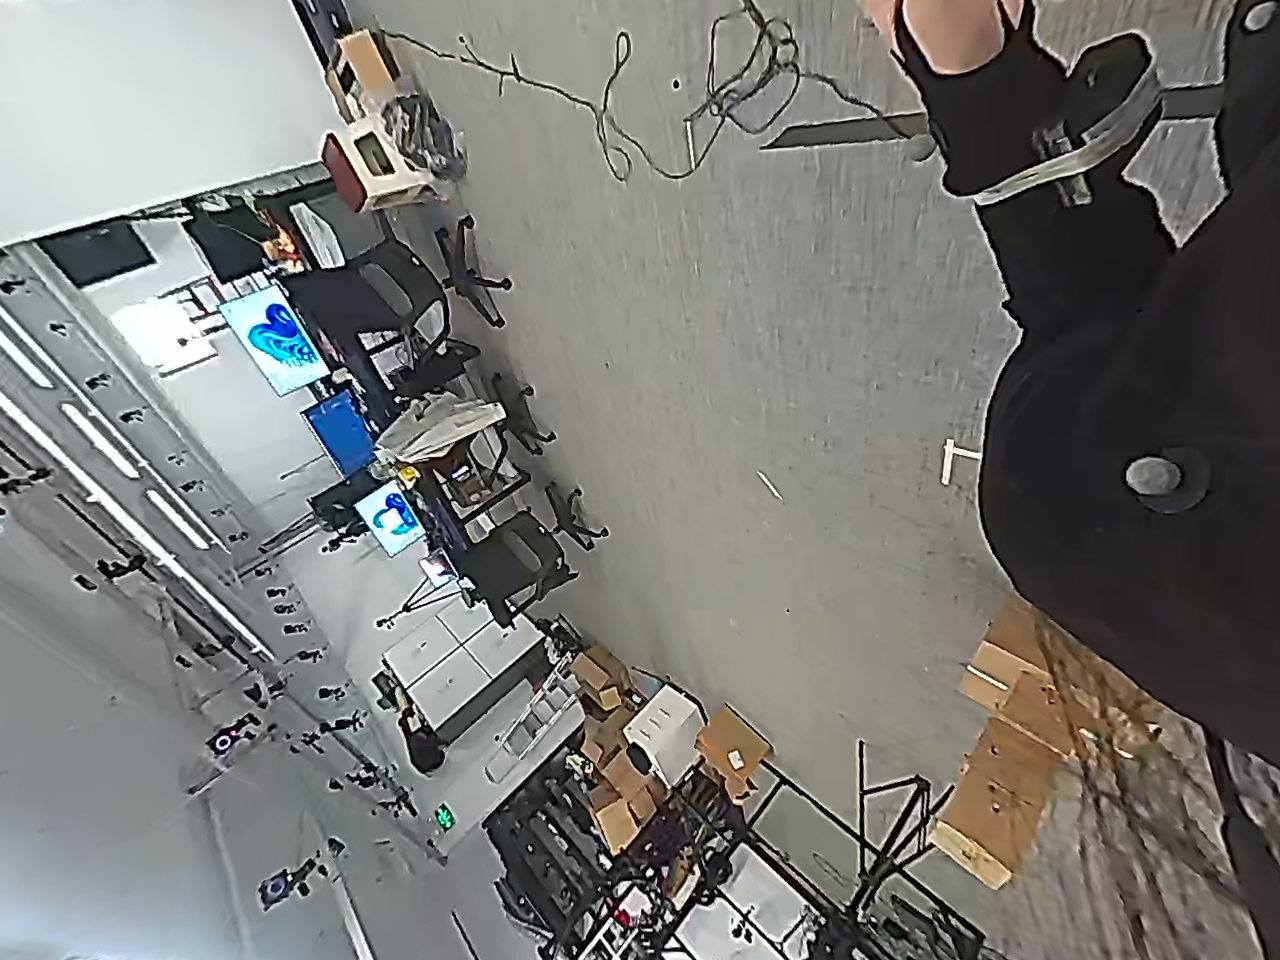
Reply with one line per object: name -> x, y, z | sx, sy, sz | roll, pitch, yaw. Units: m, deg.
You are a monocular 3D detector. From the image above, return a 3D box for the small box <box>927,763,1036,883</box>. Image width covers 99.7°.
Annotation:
small box -> 0.865, 0.867, 1.373 | 0.168, 0.176, 0.179 | 30, 146, 36

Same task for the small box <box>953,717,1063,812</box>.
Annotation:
small box -> 0.977, 0.765, 1.440 | 0.179, 0.176, 0.168 | 27, 145, 37
